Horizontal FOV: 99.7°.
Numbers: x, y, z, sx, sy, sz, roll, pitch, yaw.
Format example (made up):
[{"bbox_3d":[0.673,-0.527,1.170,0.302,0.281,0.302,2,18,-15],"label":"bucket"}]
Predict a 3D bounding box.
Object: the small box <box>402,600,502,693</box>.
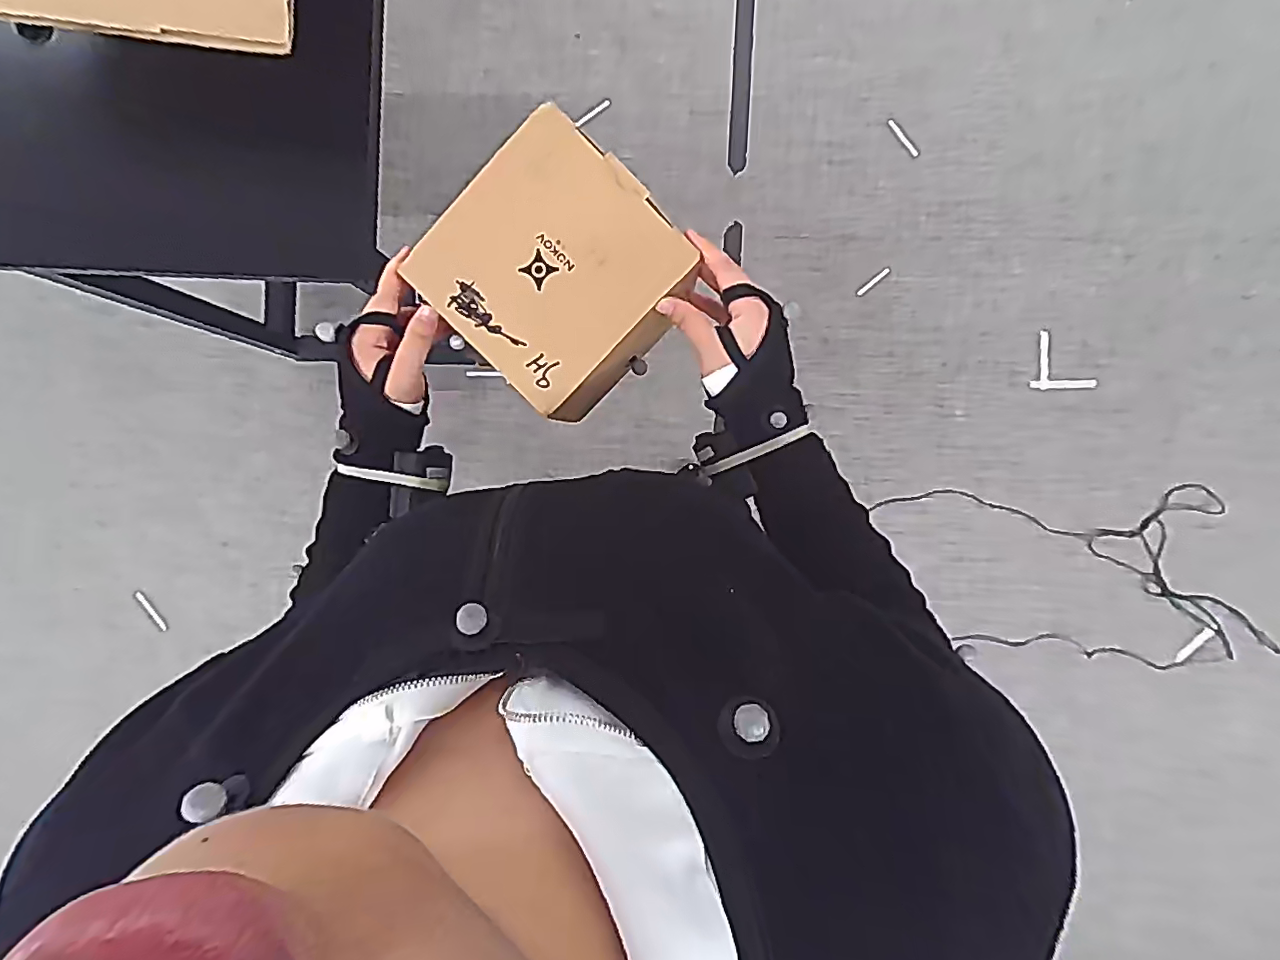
[{"bbox_3d":[-0.432,0.384,1.271,0.179,0.176,0.168,-5,89,3],"label":"small box"}]
